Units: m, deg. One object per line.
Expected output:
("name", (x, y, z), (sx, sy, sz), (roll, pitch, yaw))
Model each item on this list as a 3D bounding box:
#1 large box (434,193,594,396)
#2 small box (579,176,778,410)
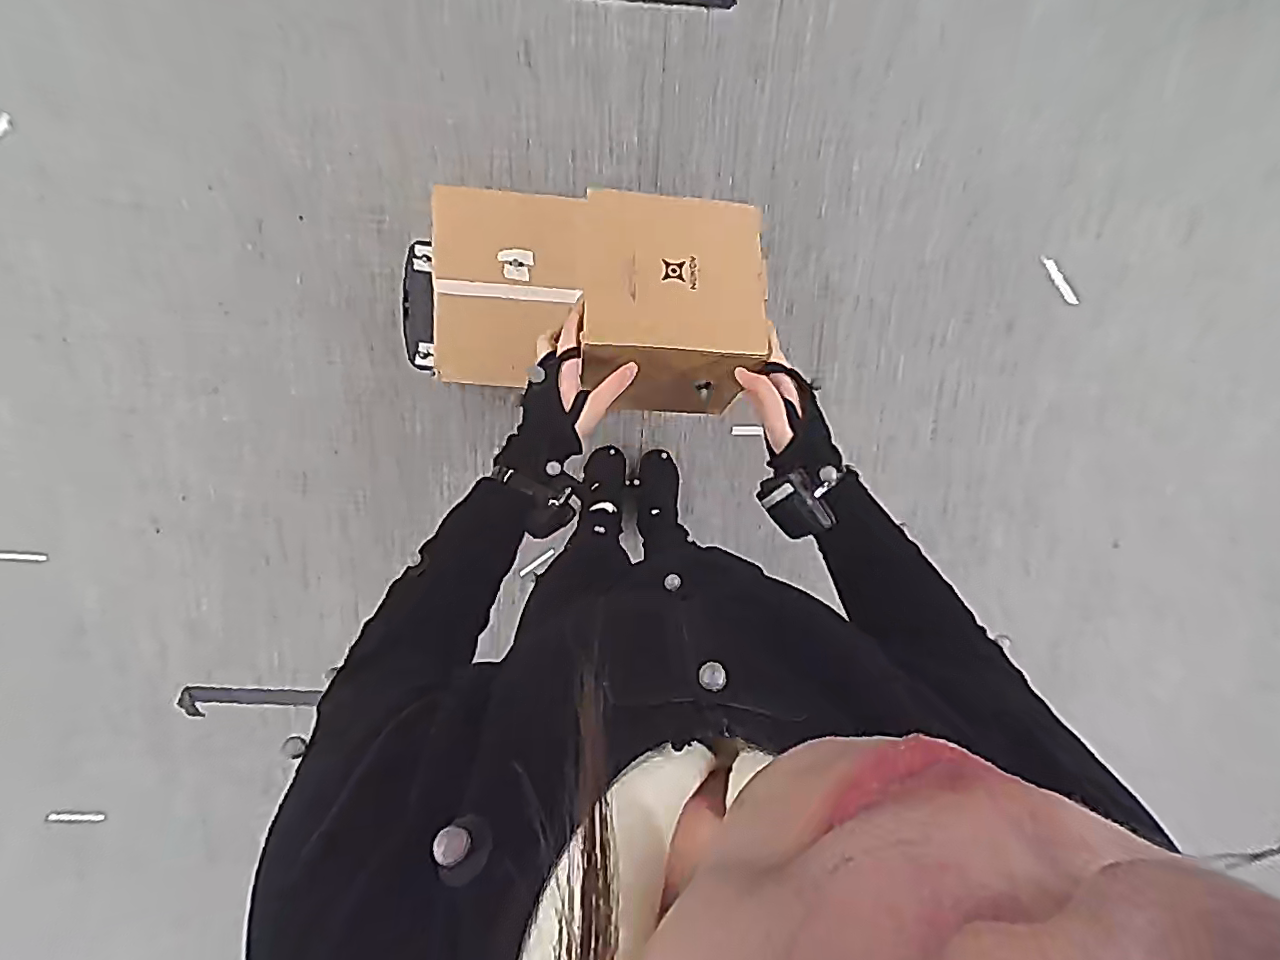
("large box", (-0.143, -0.330, 1.045), (0.408, 0.320, 0.320), (4, 101, -3))
("small box", (0.030, -0.178, 0.569), (0.179, 0.176, 0.168), (3, 78, -7))
